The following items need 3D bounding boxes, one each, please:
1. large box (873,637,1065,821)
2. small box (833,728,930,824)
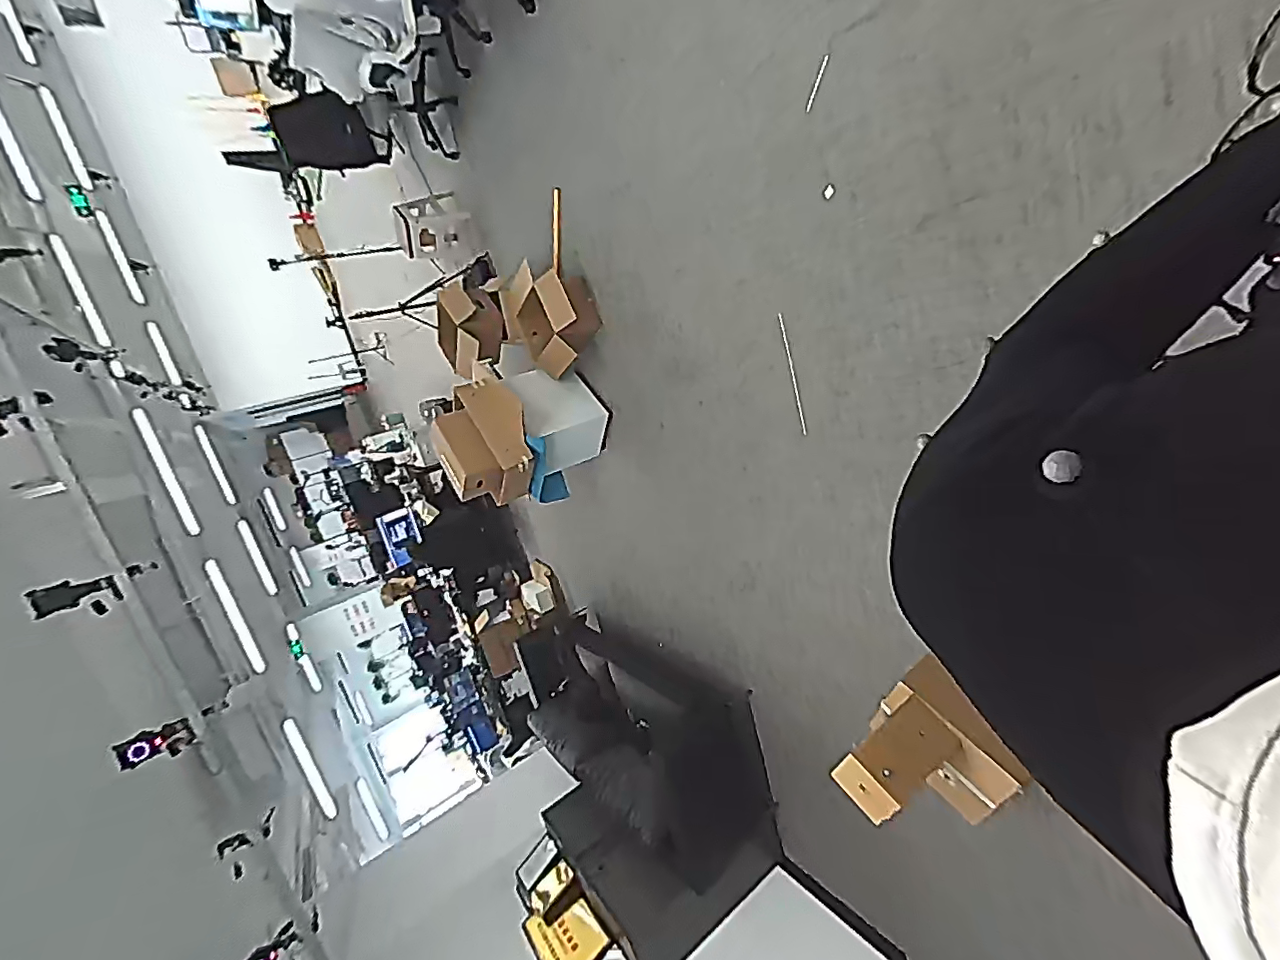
[{"bbox_3d":[1.087,0.821,1.825,0.408,0.320,0.320,41,143,36],"label":"large box"},{"bbox_3d":[0.724,0.878,1.625,0.179,0.176,0.168,43,142,33],"label":"small box"}]
